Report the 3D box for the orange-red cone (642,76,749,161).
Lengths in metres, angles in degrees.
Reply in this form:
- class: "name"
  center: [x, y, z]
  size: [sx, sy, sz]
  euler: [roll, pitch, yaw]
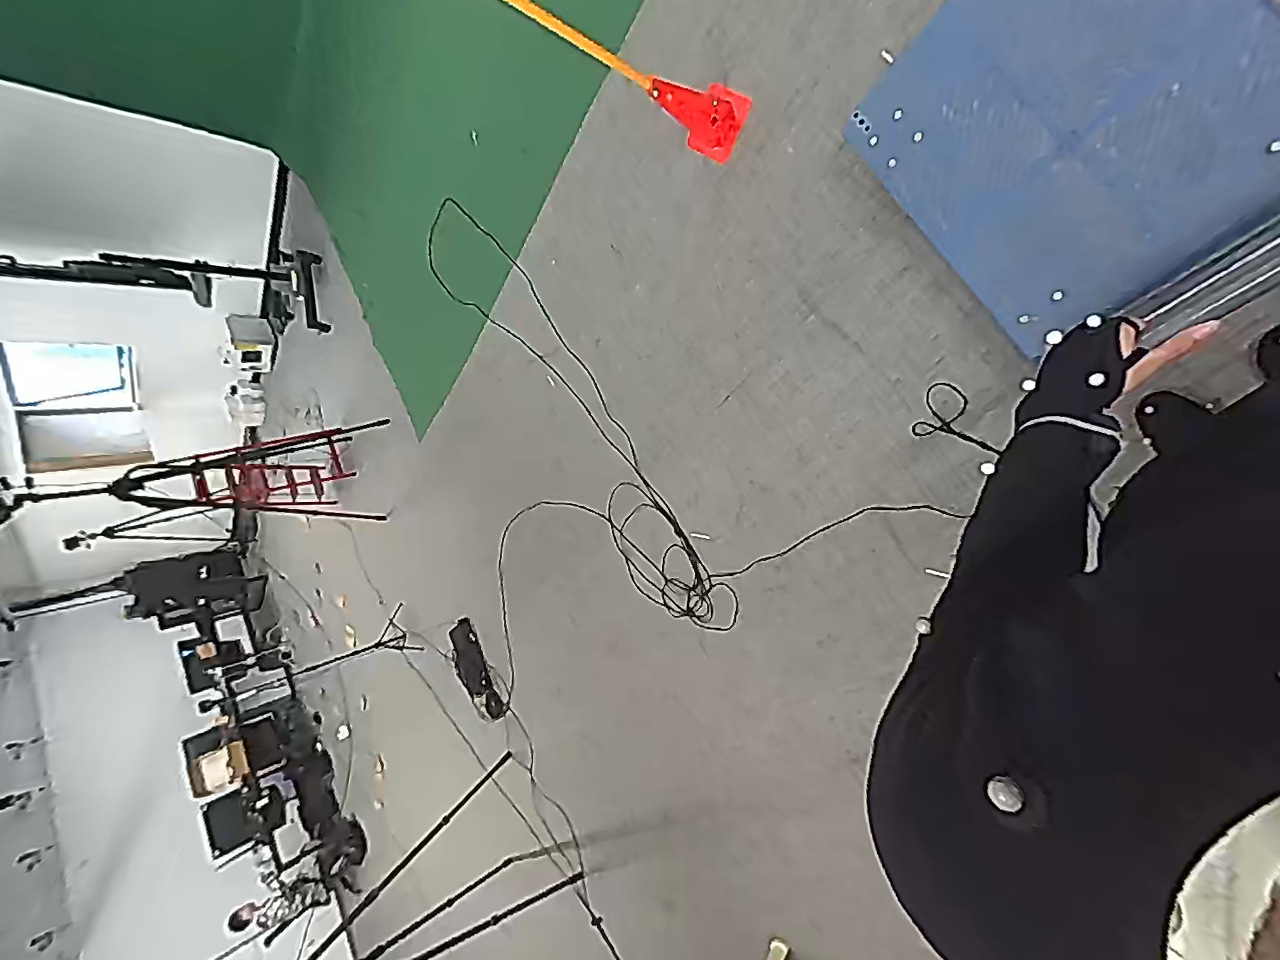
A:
- class: "orange-red cone"
  center: [0.141, -1.181, 1.698]
  size: [0.198, 0.360, 0.199]
  euler: [48, 128, 27]
